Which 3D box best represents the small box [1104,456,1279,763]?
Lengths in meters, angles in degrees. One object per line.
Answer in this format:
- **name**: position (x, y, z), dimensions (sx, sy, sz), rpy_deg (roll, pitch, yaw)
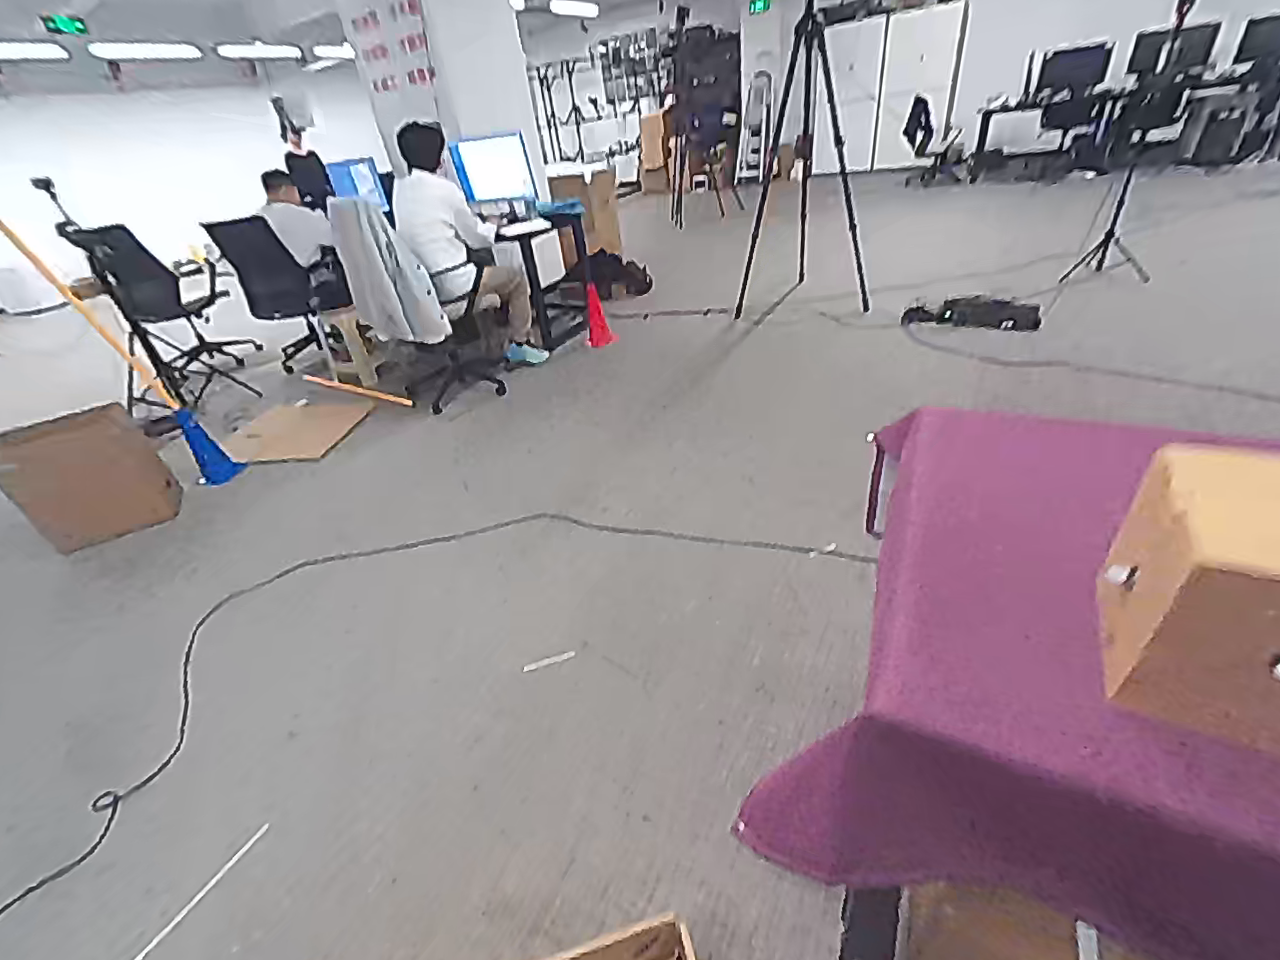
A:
- **small box**: position (0.499, 0.103, 0.426), dimensions (0.179, 0.176, 0.168), rpy_deg (12, 40, 30)
